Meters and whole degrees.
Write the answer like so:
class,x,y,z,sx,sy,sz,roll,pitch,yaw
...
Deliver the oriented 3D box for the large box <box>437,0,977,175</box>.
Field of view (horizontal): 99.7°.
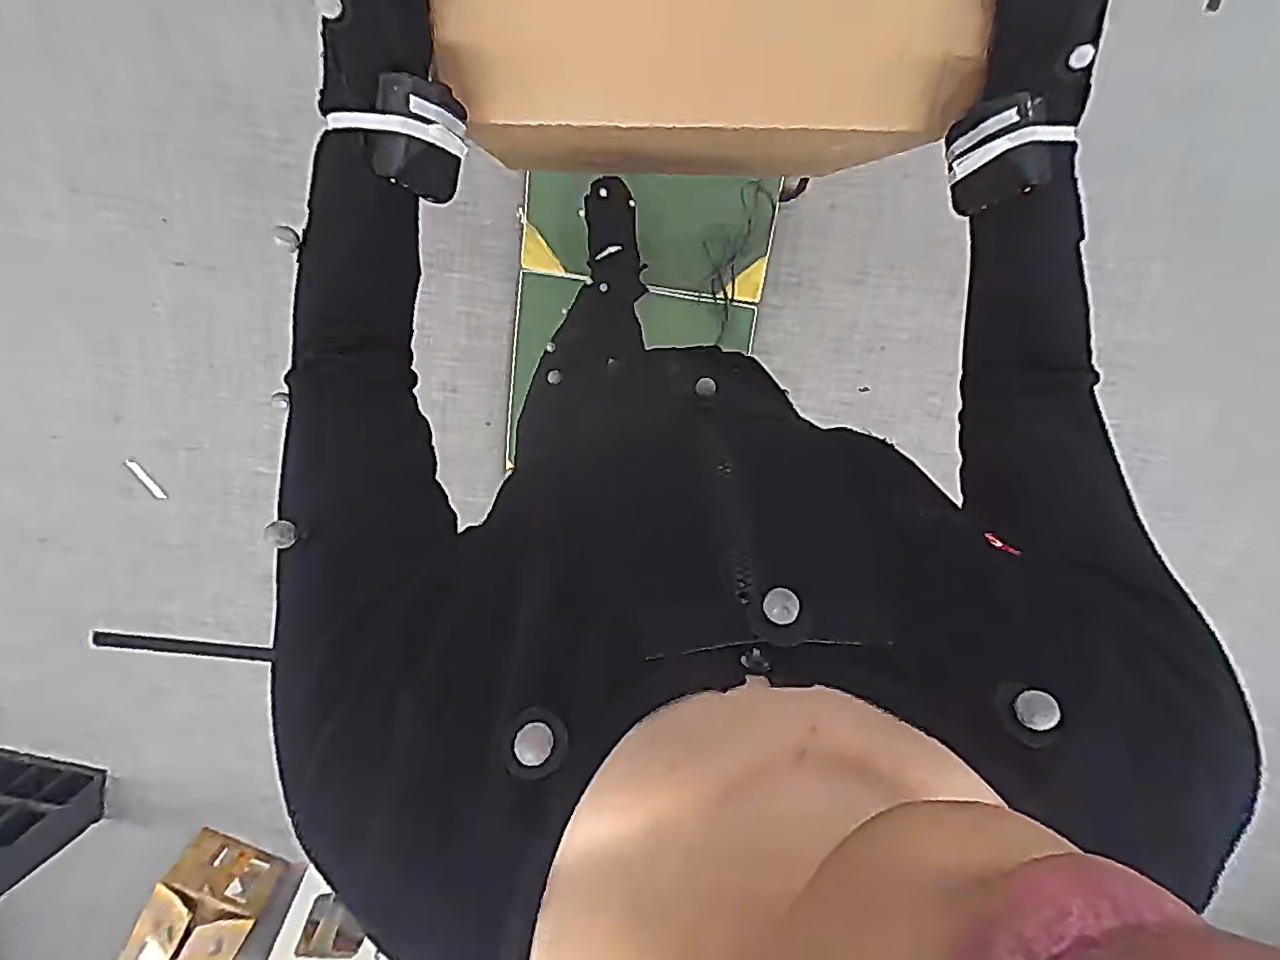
class,x,y,z,sx,sy,sz,roll,pitch,yaw
large box,0.039,-0.478,0.496,0.408,0.320,0.320,-2,114,-4
